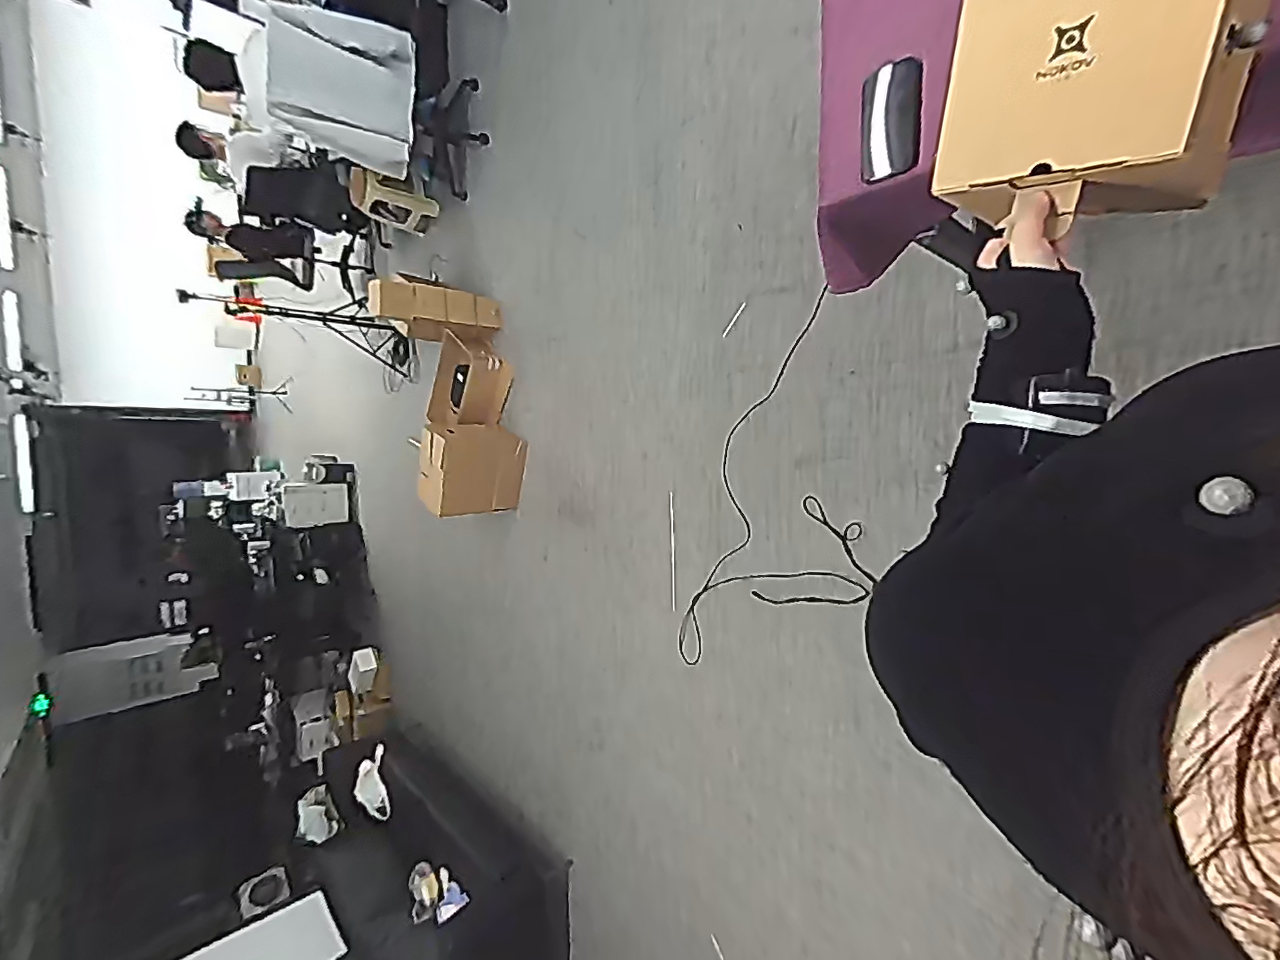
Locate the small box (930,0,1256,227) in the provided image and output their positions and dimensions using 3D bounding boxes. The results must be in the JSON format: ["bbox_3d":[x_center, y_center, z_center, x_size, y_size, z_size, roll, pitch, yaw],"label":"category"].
[{"bbox_3d":[0.377,-0.328,0.455,0.168,0.176,0.179,19,112,45],"label":"small box"}]
